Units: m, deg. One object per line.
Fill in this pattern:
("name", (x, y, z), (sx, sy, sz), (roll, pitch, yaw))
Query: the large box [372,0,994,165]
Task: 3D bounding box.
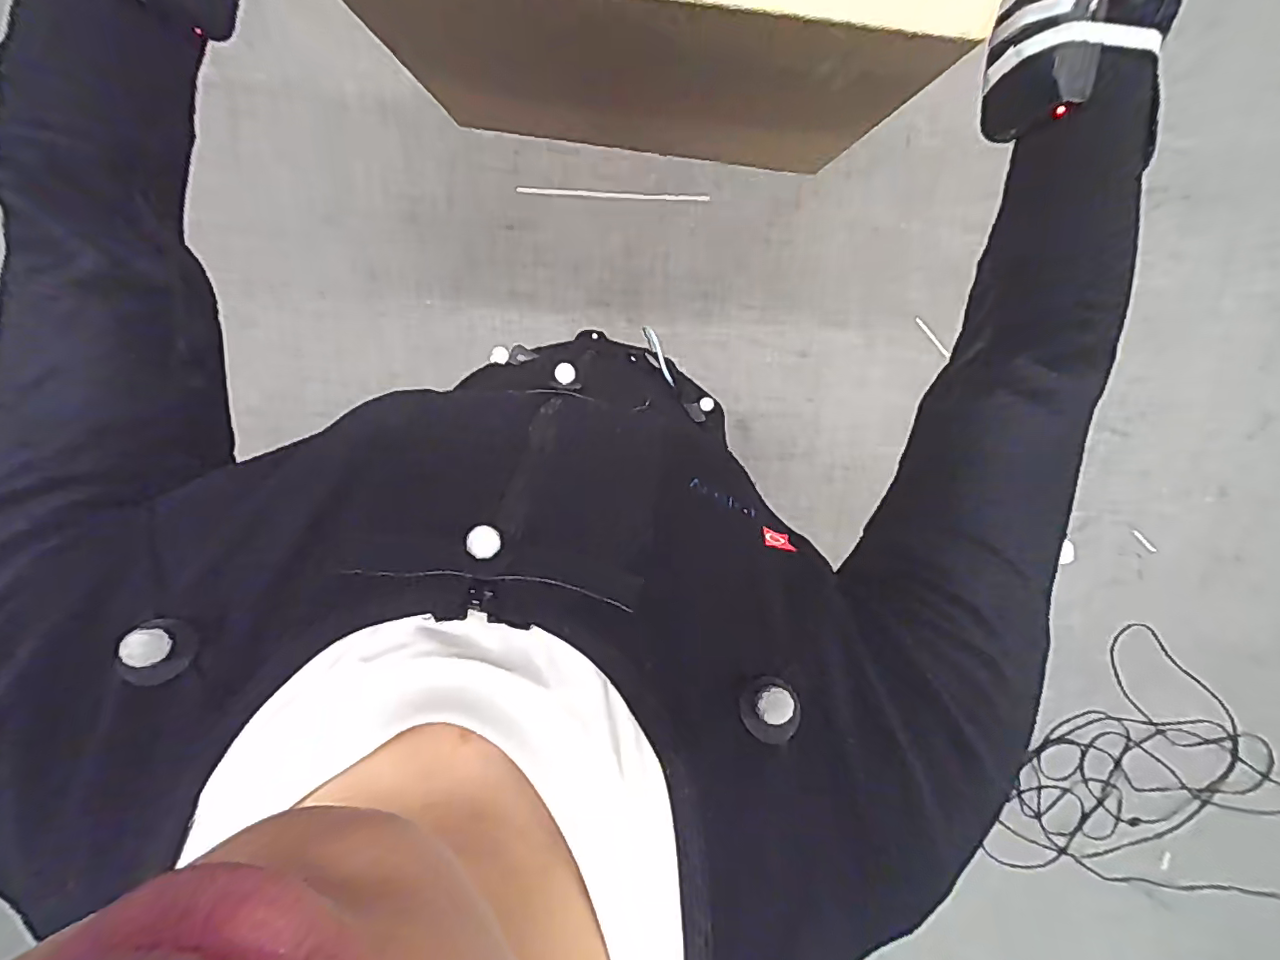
("large box", (0.022, -0.474, 0.418), (0.408, 0.320, 0.320), (5, 107, -4))
